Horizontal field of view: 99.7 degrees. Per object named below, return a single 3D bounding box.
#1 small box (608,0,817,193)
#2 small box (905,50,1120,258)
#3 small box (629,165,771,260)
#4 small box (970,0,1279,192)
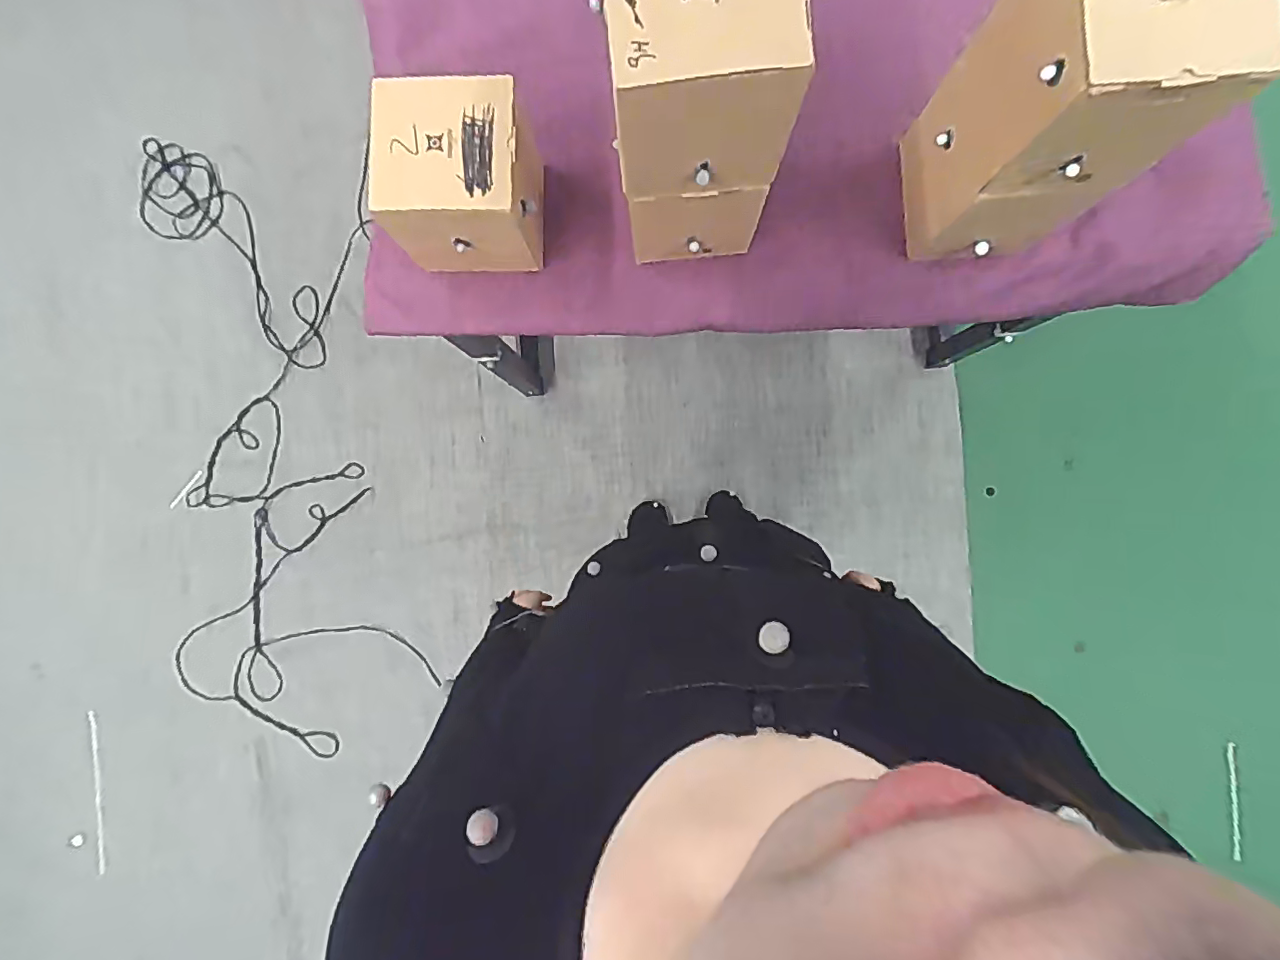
[{"bbox_3d":[0.060,-0.420,0.547,0.179,0.176,0.168,-5,87,1],"label":"small box"},{"bbox_3d":[0.462,-0.412,0.698,0.168,0.176,0.179,-4,89,2],"label":"small box"},{"bbox_3d":[0.067,-0.416,0.710,0.168,0.176,0.179,-5,88,2],"label":"small box"},{"bbox_3d":[0.457,-0.421,0.536,0.168,0.176,0.179,-4,89,2],"label":"small box"}]
